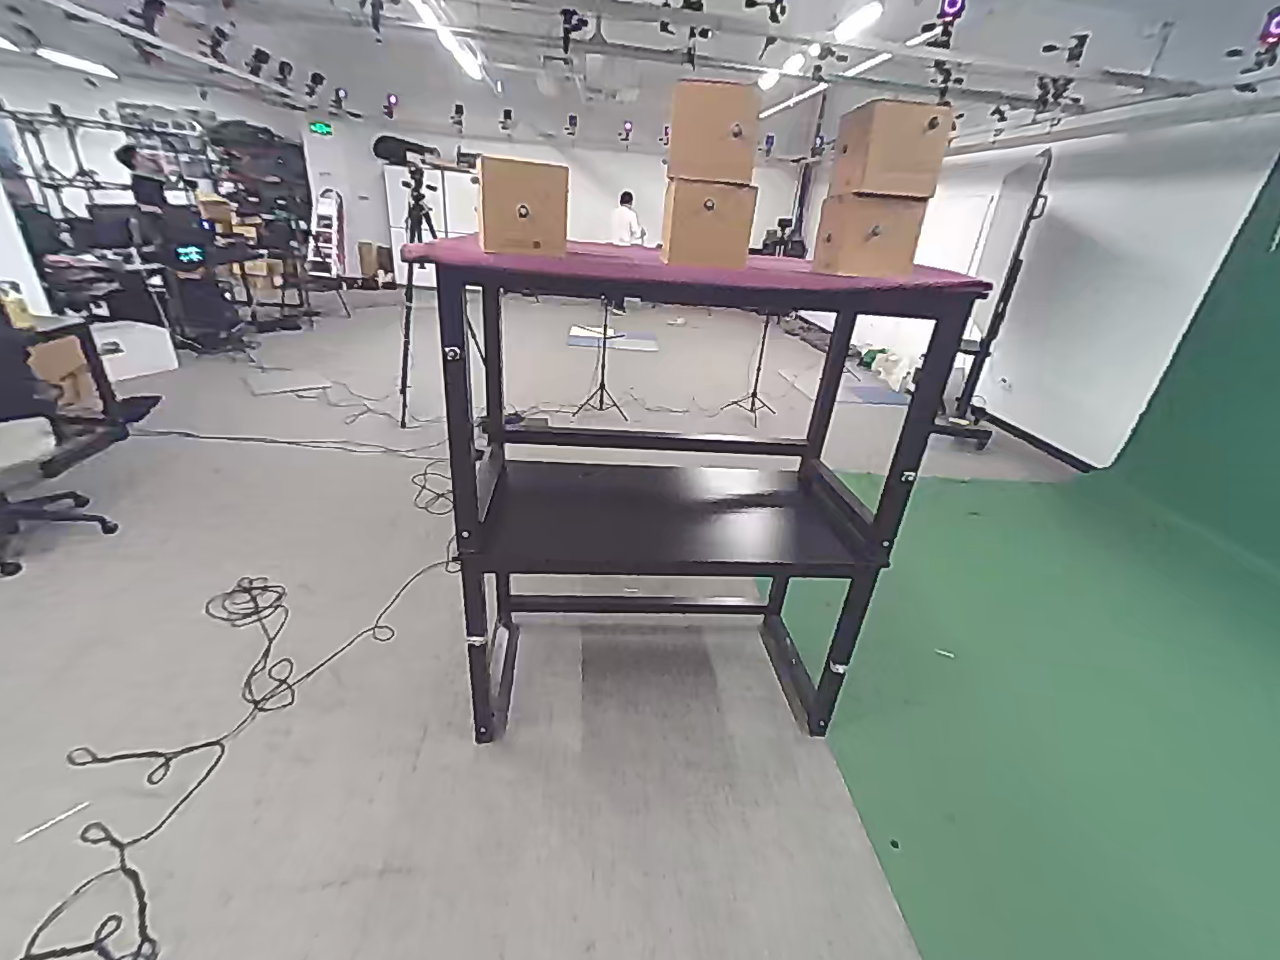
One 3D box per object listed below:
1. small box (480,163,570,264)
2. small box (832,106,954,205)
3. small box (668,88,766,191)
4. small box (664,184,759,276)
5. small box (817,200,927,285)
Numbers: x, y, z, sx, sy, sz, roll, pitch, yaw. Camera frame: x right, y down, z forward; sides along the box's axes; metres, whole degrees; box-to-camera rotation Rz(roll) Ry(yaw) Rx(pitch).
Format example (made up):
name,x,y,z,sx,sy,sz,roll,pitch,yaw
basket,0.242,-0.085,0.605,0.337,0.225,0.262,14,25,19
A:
name,x,y,z,sx,sy,sz,roll,pitch,yaw
small box,-0.241,-0.551,1.124,0.168,0.176,0.179,-3,28,-18
small box,0.536,-0.690,1.177,0.179,0.176,0.168,1,24,-6
small box,0.157,-0.698,1.133,0.179,0.176,0.168,6,25,4
small box,0.149,-0.553,1.205,0.179,0.176,0.168,3,26,-6
small box,0.525,-0.547,1.255,0.179,0.176,0.168,1,24,-5
